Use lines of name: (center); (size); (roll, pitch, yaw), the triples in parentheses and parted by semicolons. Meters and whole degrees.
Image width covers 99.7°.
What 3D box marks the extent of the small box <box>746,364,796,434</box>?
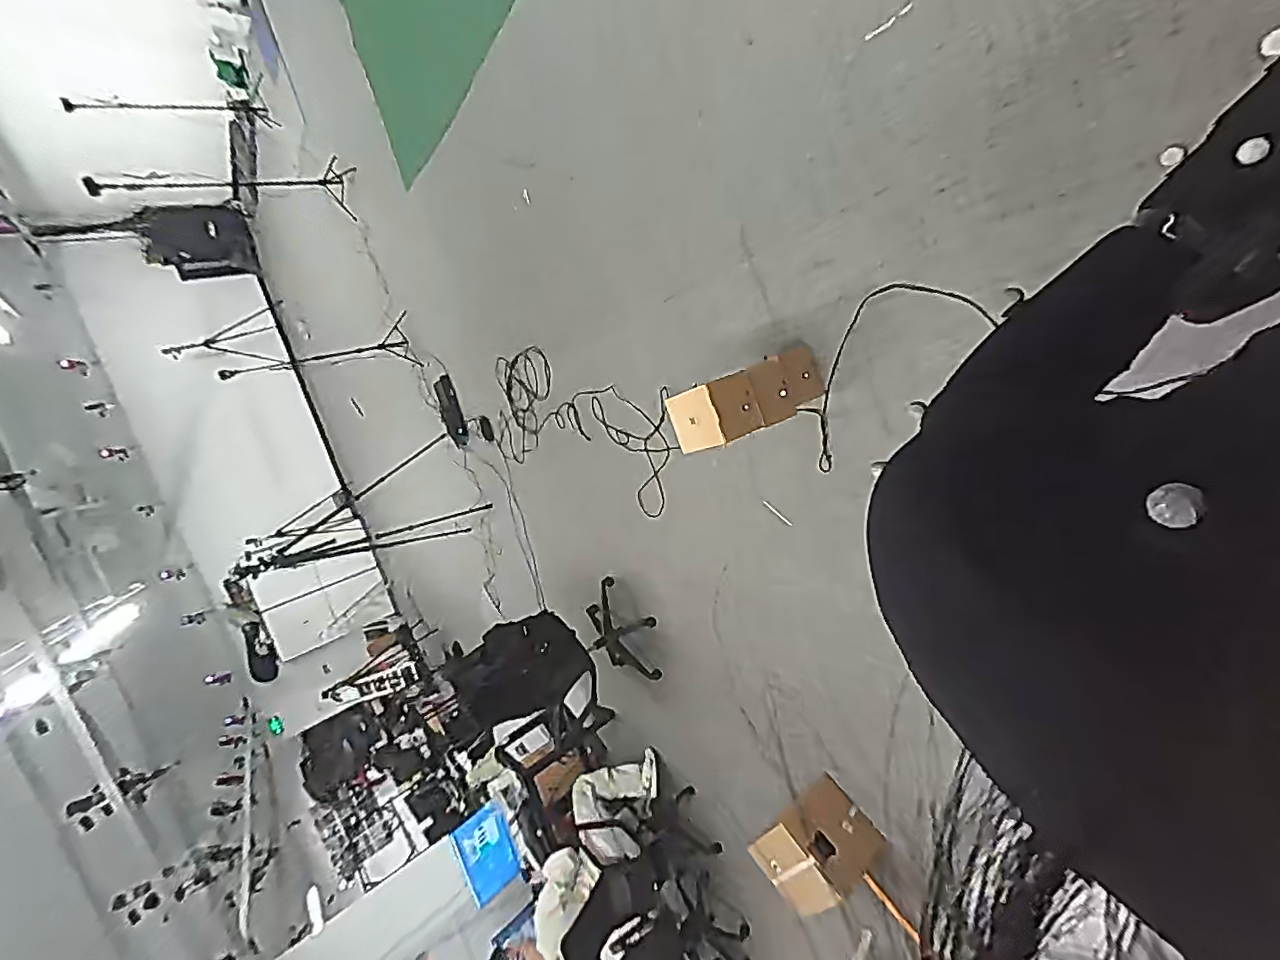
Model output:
small box: (0.329, -0.229, 1.601); (0.179, 0.176, 0.168); (-12, 99, 54)

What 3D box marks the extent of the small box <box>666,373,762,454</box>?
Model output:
small box: (0.207, -0.184, 1.504); (0.179, 0.176, 0.168); (-14, 98, 54)

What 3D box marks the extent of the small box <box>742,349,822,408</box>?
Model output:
small box: (0.444, -0.298, 1.696); (0.179, 0.176, 0.168); (-18, 93, 55)
